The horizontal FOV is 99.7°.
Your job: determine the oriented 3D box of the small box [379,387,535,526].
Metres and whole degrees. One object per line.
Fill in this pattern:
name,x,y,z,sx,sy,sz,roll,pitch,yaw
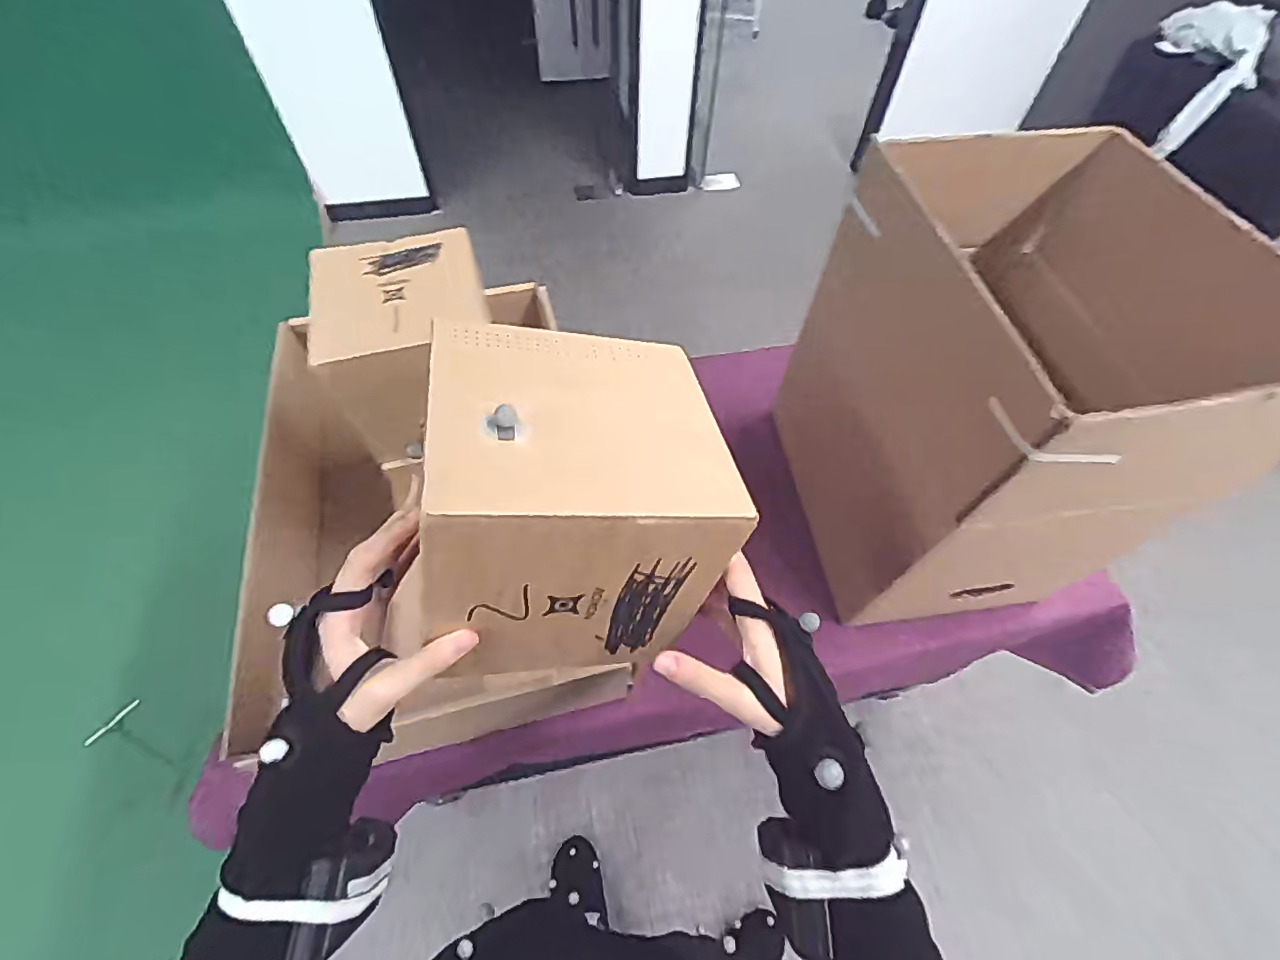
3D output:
small box,-0.253,-0.052,0.762,0.168,0.176,0.179,-15,59,-10

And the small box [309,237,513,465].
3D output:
small box,-0.253,-0.145,0.626,0.168,0.176,0.179,-14,60,-9
